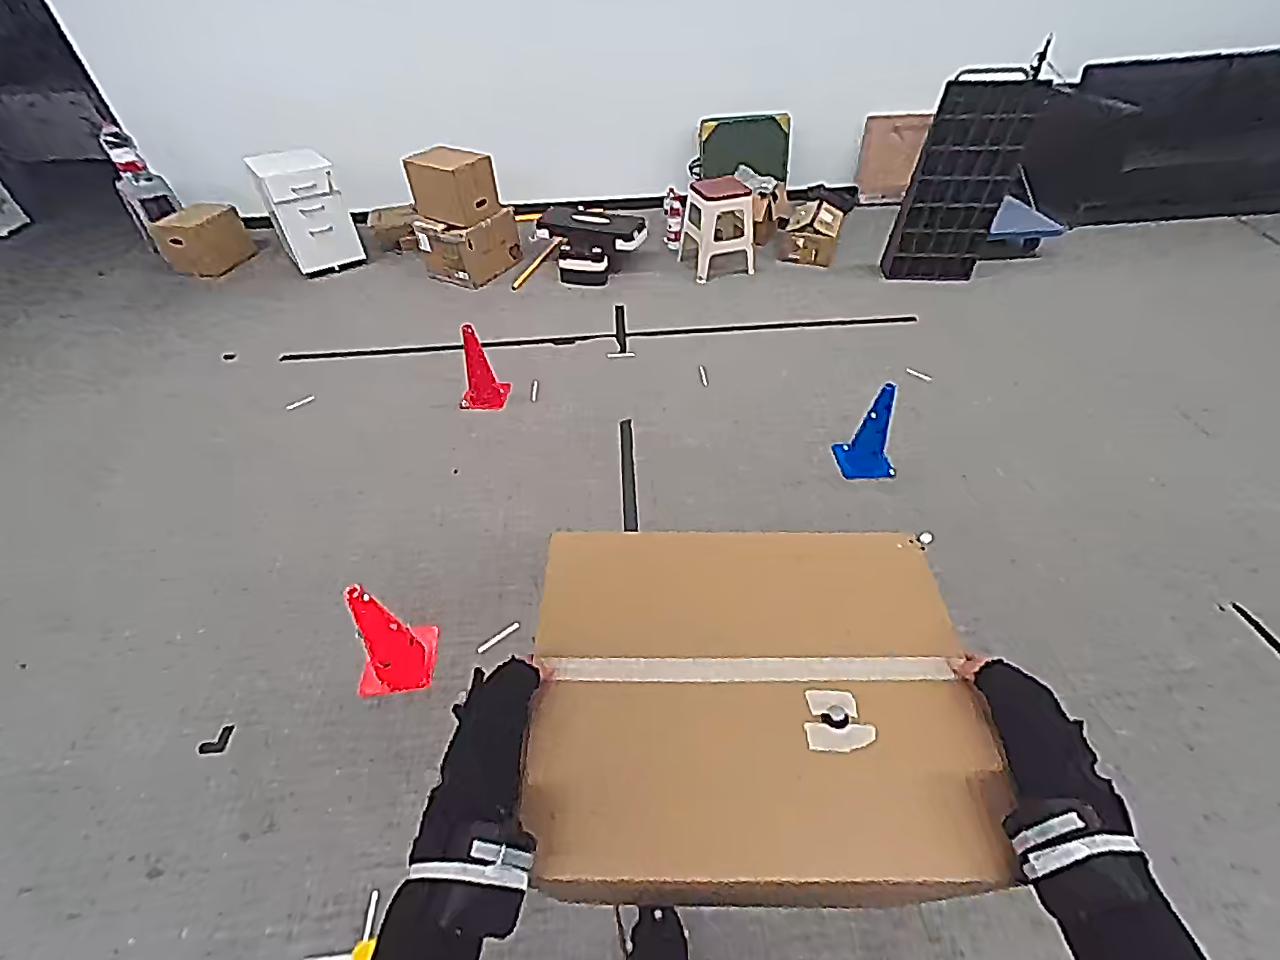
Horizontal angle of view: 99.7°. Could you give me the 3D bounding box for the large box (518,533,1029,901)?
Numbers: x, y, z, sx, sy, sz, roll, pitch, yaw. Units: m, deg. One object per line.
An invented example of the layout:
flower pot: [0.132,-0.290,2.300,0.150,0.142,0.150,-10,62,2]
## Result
large box: [0.100,0.274,0.621,0.408,0.320,0.320,0,49,0]

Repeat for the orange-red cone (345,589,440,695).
orange-red cone: [-0.700,0.407,1.458,0.198,0.360,0.199,-6,46,-3]

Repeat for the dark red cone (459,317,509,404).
dark red cone: [-0.716,-0.523,2.367,0.201,0.394,0.202,1,45,2]

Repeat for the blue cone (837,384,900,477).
blue cone: [0.886,-0.195,2.027,0.192,0.380,0.193,-1,45,0]
